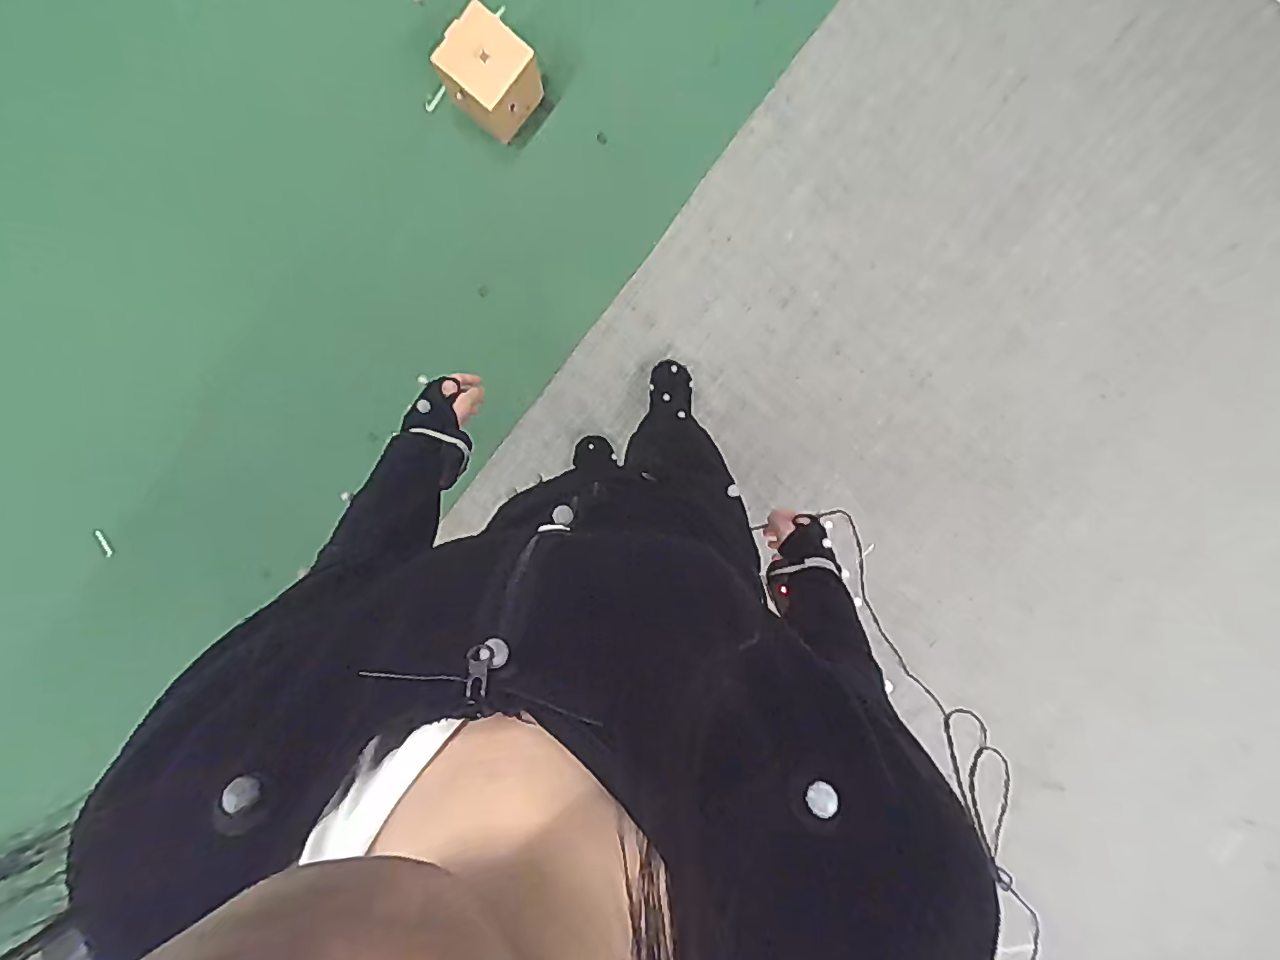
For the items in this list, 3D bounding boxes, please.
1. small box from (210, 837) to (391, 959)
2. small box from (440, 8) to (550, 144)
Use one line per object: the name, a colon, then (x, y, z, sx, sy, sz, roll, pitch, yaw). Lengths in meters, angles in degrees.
small box: (-0.496, 0.674, 0.772, 0.168, 0.176, 0.179, 40, 91, -3)
small box: (-0.339, -0.958, 1.307, 0.179, 0.176, 0.168, 39, 95, -3)
